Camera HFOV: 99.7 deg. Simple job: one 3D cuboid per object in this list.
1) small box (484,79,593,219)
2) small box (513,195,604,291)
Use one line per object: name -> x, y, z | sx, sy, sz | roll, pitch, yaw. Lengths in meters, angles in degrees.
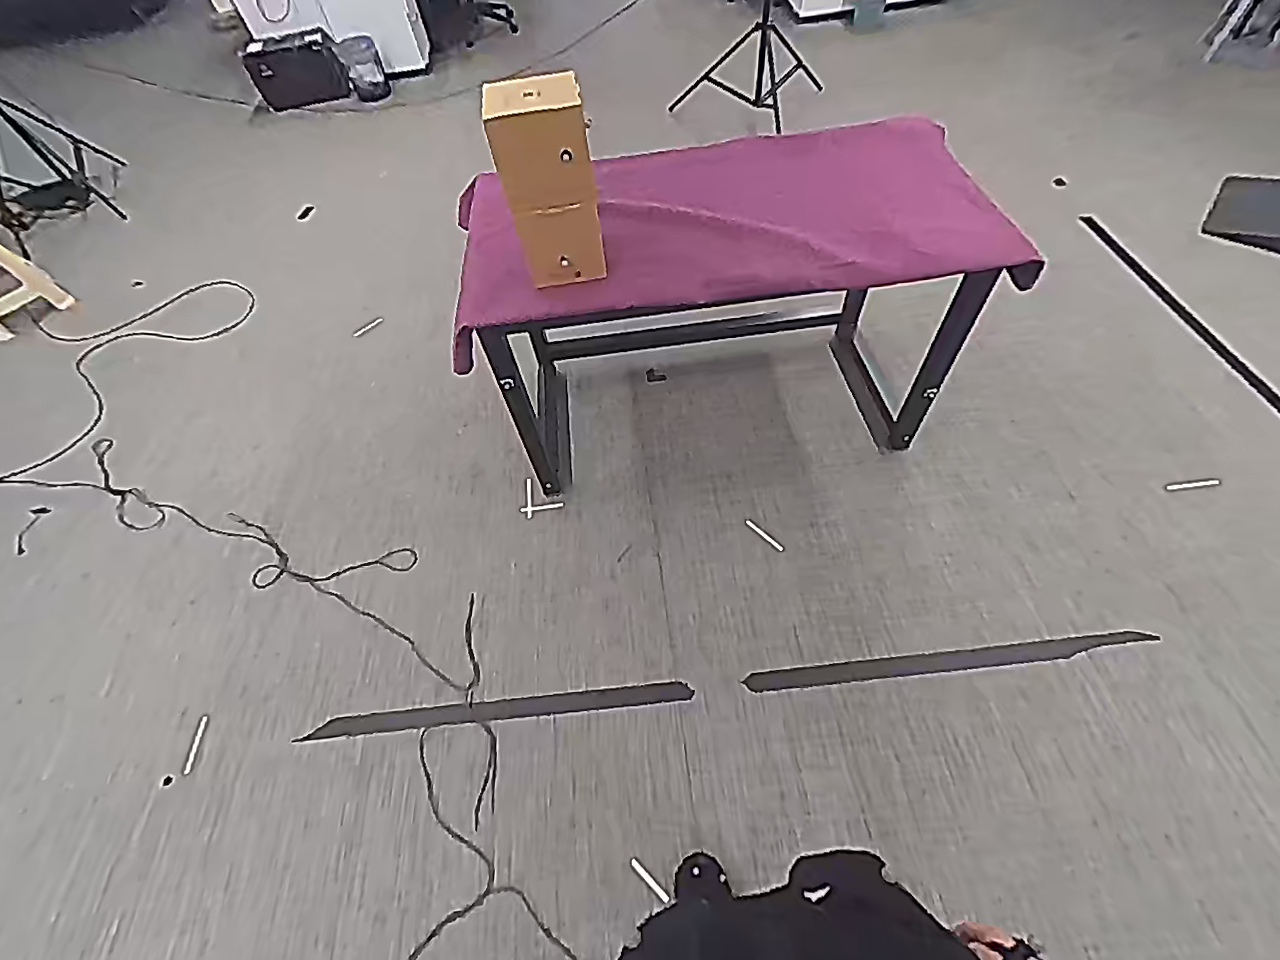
small box -> -0.189, -0.632, 1.040 | 0.179, 0.176, 0.168 | -11, 53, -1
small box -> -0.174, -0.539, 1.172 | 0.168, 0.176, 0.179 | -10, 55, -1
